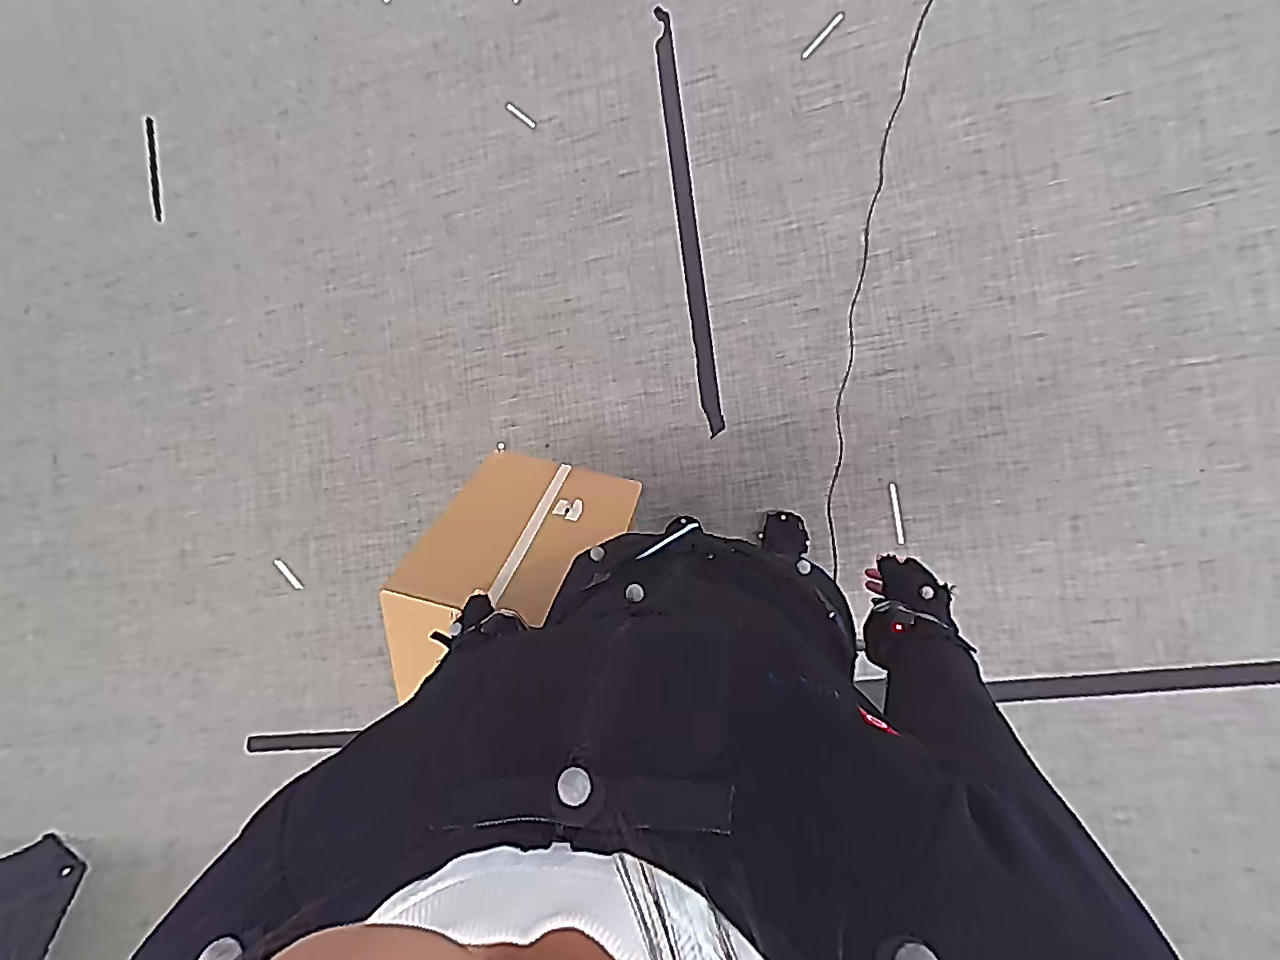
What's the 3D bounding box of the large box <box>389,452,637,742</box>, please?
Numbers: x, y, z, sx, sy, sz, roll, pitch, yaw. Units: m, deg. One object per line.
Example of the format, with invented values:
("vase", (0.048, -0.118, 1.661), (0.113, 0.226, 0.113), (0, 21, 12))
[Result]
("large box", (-0.210, 0.204, 1.026), (0.320, 0.408, 0.320), (14, 125, 4))
